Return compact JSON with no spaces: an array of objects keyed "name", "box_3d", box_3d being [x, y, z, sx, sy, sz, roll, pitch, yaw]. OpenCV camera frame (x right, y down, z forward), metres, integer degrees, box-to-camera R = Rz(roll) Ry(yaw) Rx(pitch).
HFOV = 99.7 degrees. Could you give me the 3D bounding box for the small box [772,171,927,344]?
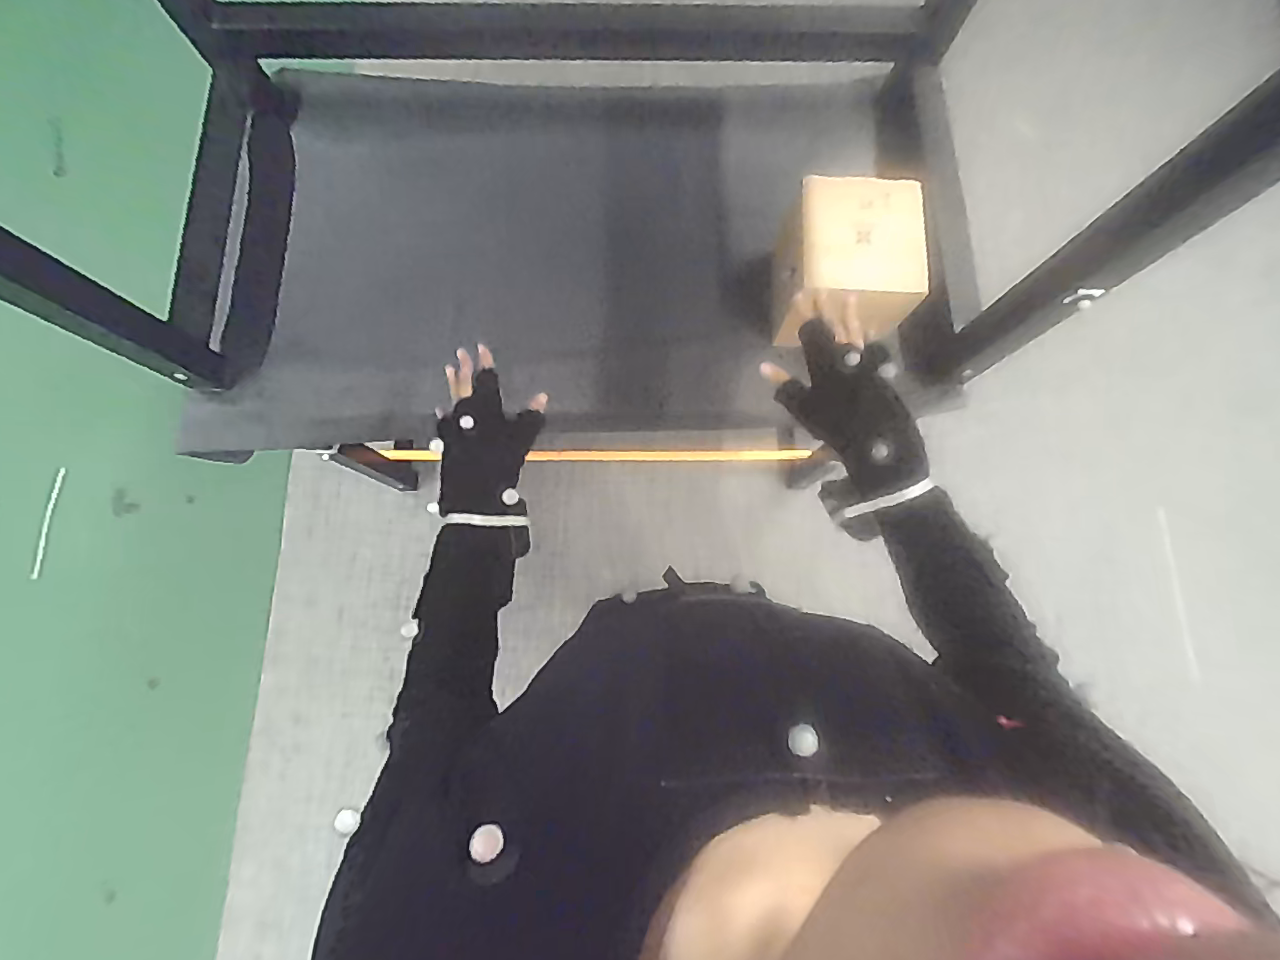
[{"name":"small box","box_3d":[0.298,-0.317,0.800,0.168,0.176,0.179,3,77,-1]}]
